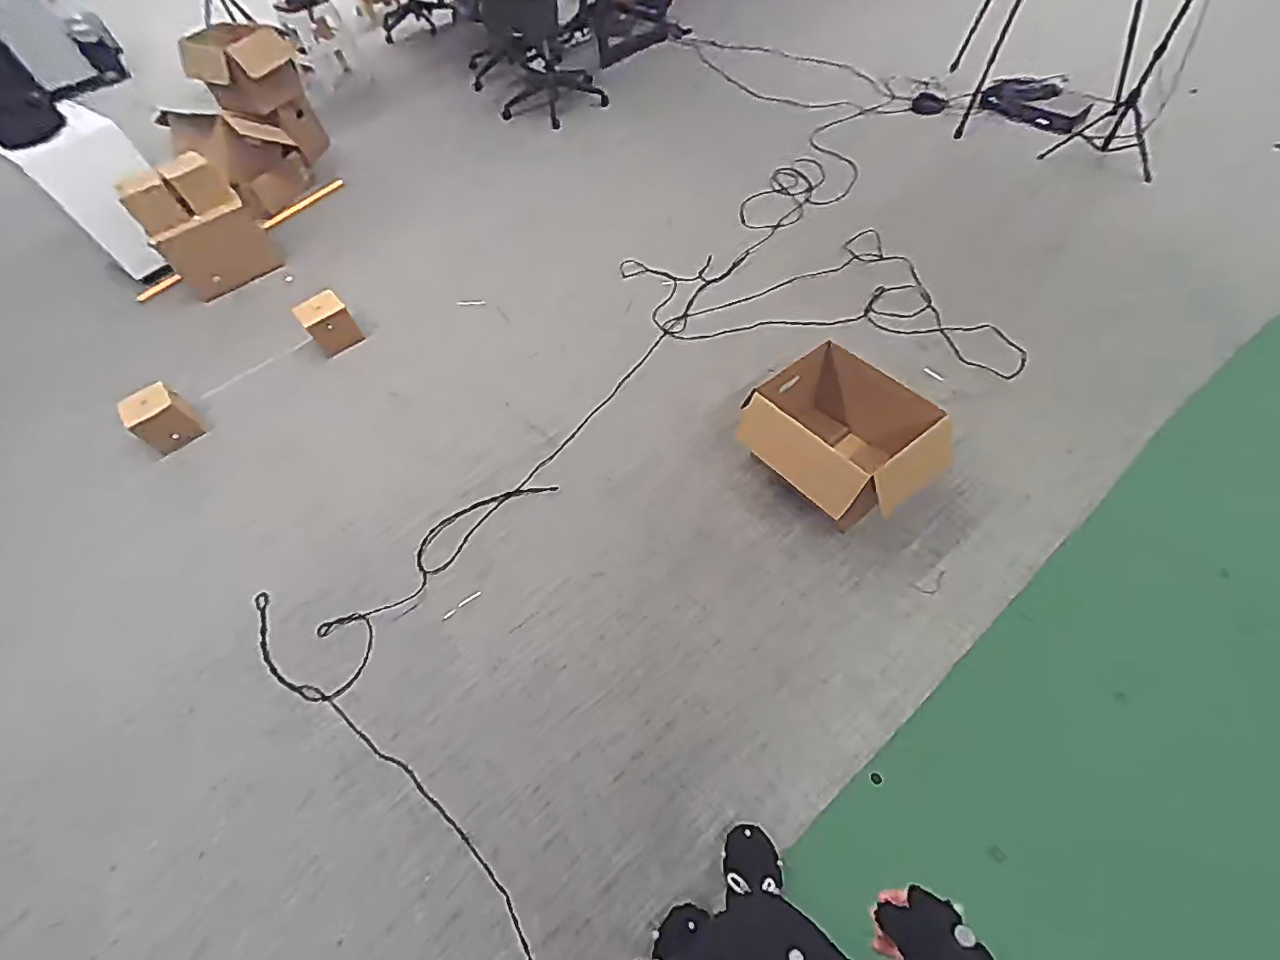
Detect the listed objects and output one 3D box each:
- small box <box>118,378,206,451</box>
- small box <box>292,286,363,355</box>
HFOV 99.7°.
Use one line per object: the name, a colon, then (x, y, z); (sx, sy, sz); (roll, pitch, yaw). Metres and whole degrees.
small box: (-1.785, -0.241, 2.023); (0.168, 0.176, 0.179); (-38, 61, -17)
small box: (-1.279, -0.655, 2.229); (0.179, 0.176, 0.168); (-38, 61, -16)
